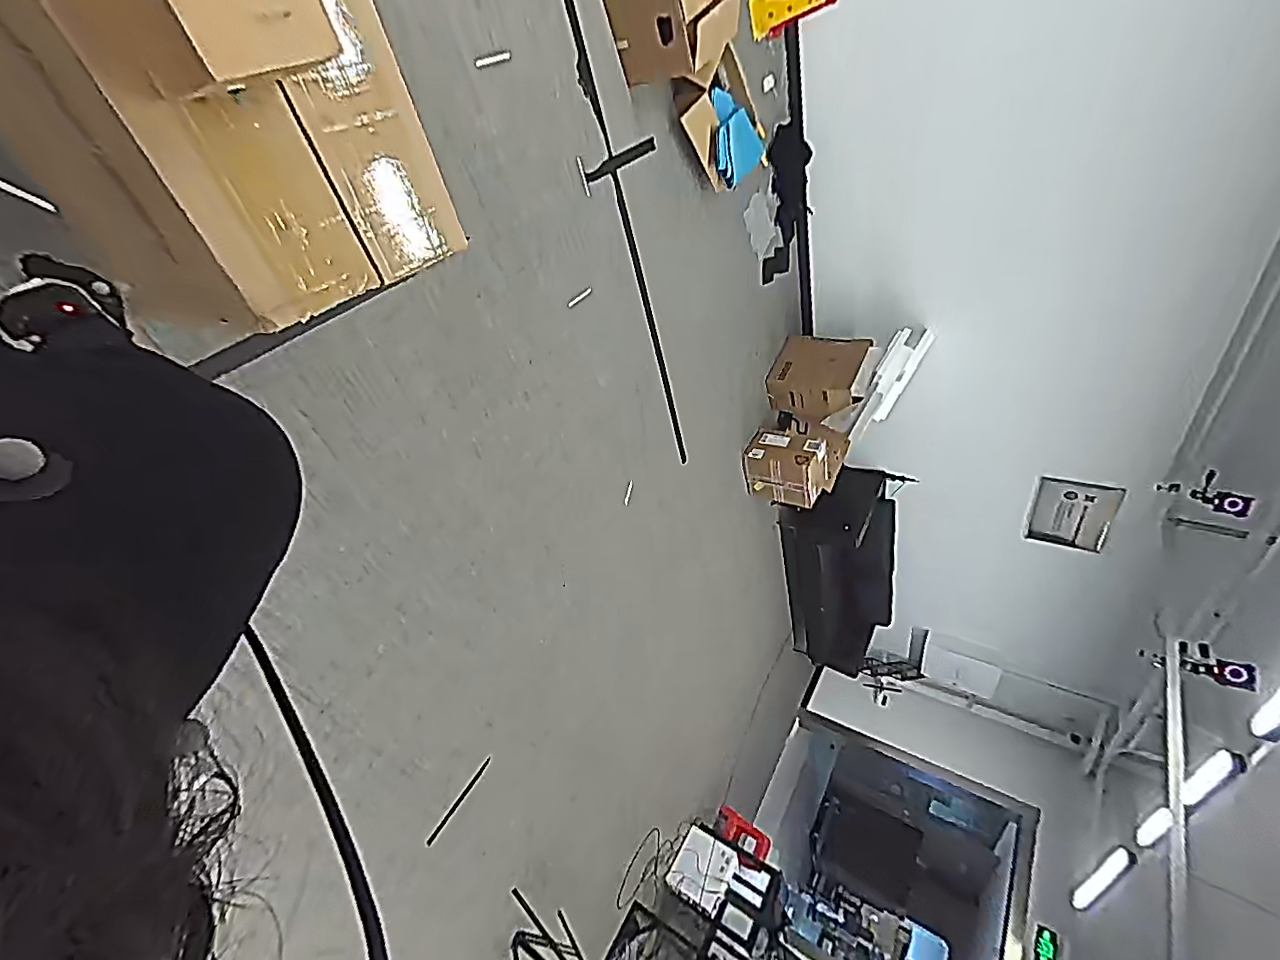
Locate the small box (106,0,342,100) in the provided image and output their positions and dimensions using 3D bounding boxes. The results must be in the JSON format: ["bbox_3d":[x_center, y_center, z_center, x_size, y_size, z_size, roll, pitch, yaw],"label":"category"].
[{"bbox_3d":[-0.495,-0.564,0.615,0.168,0.176,0.179,-48,139,-33],"label":"small box"}]
